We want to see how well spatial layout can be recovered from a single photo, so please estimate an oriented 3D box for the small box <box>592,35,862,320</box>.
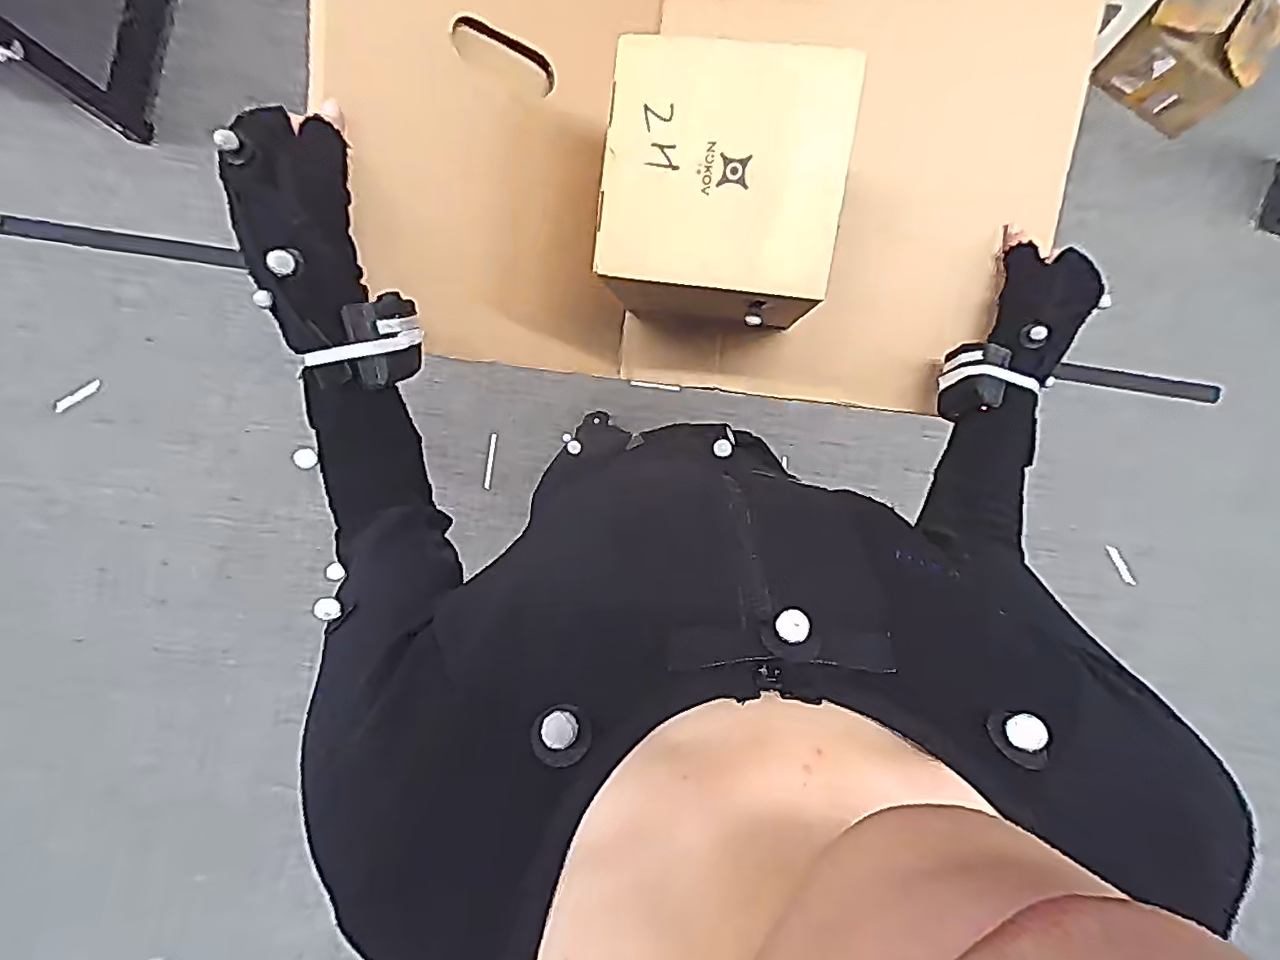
[{"bbox_3d":[0.068,-0.242,0.476,0.179,0.176,0.168,9,100,6],"label":"small box"}]
